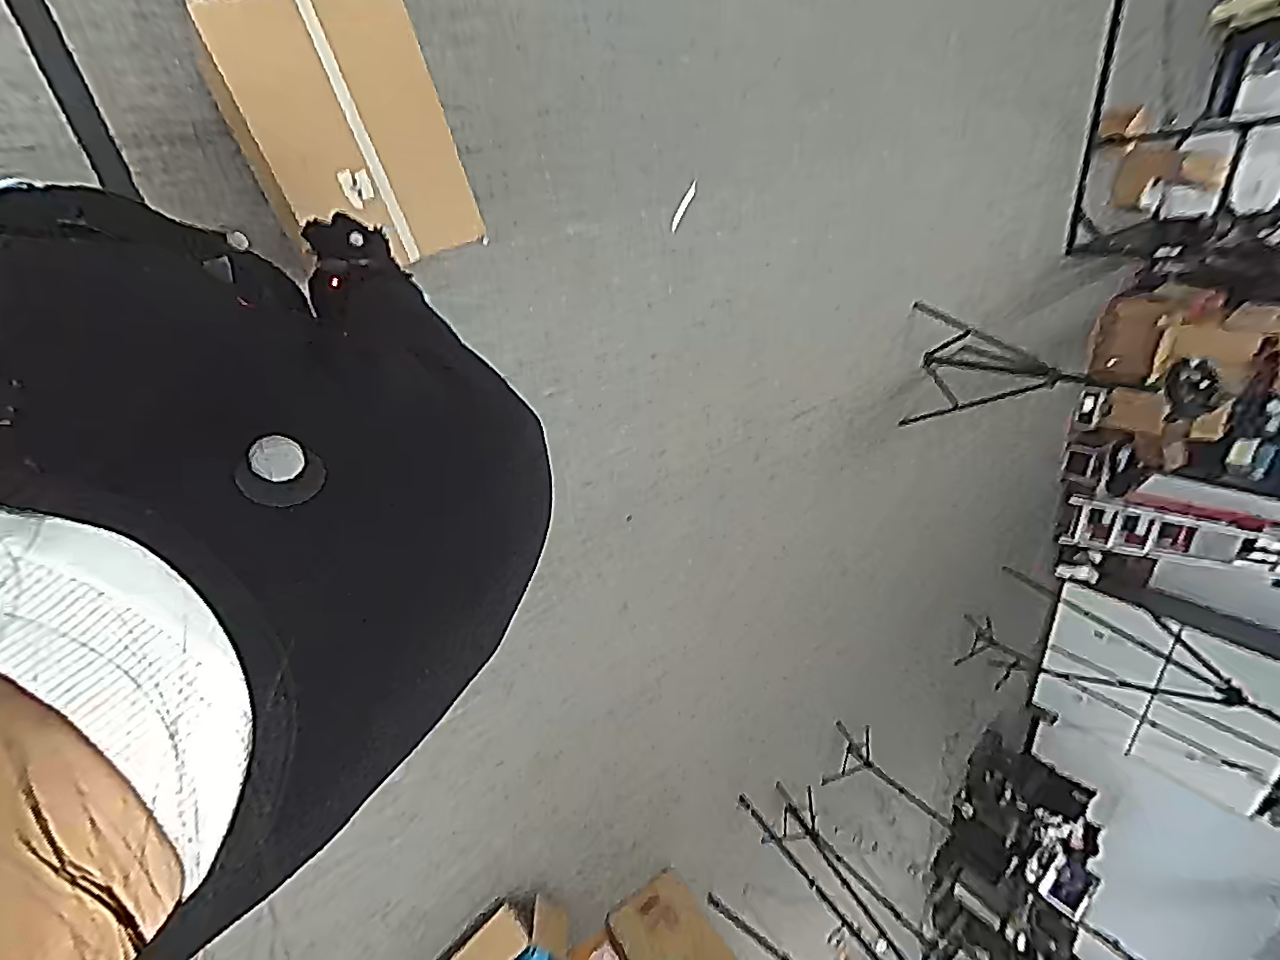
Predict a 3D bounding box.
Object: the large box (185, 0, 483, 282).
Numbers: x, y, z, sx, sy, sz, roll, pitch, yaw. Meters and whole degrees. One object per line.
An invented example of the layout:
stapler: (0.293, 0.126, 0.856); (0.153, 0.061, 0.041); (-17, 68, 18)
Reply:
large box: (-0.569, -0.635, 1.037); (0.320, 0.320, 0.408); (-31, 125, -23)
